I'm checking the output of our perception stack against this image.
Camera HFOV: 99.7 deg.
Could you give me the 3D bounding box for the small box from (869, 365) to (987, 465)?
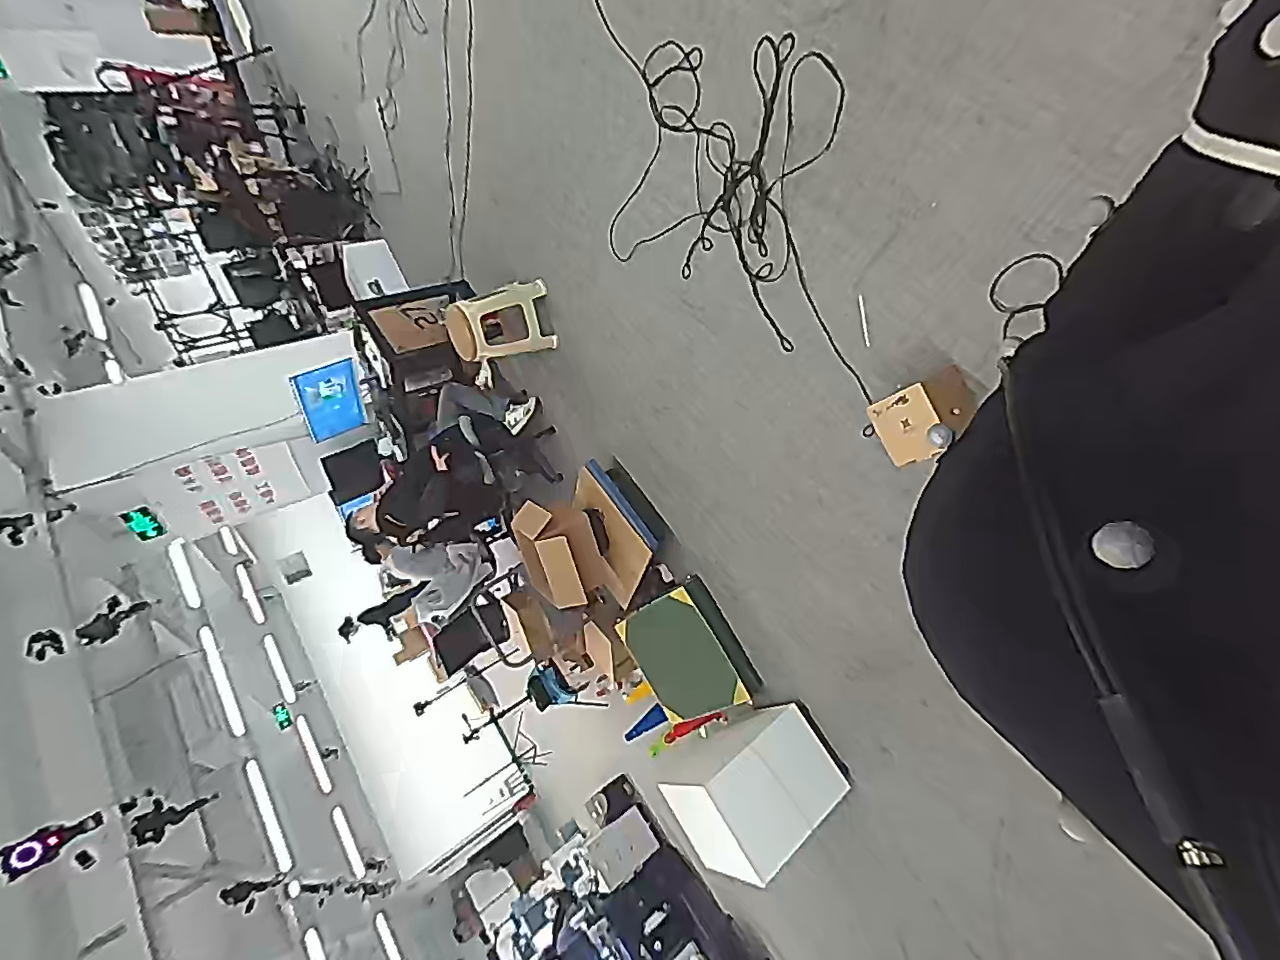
[{"bbox_3d":[0.725,-0.164,1.358,0.179,0.176,0.168,63,150,3],"label":"small box"}]
